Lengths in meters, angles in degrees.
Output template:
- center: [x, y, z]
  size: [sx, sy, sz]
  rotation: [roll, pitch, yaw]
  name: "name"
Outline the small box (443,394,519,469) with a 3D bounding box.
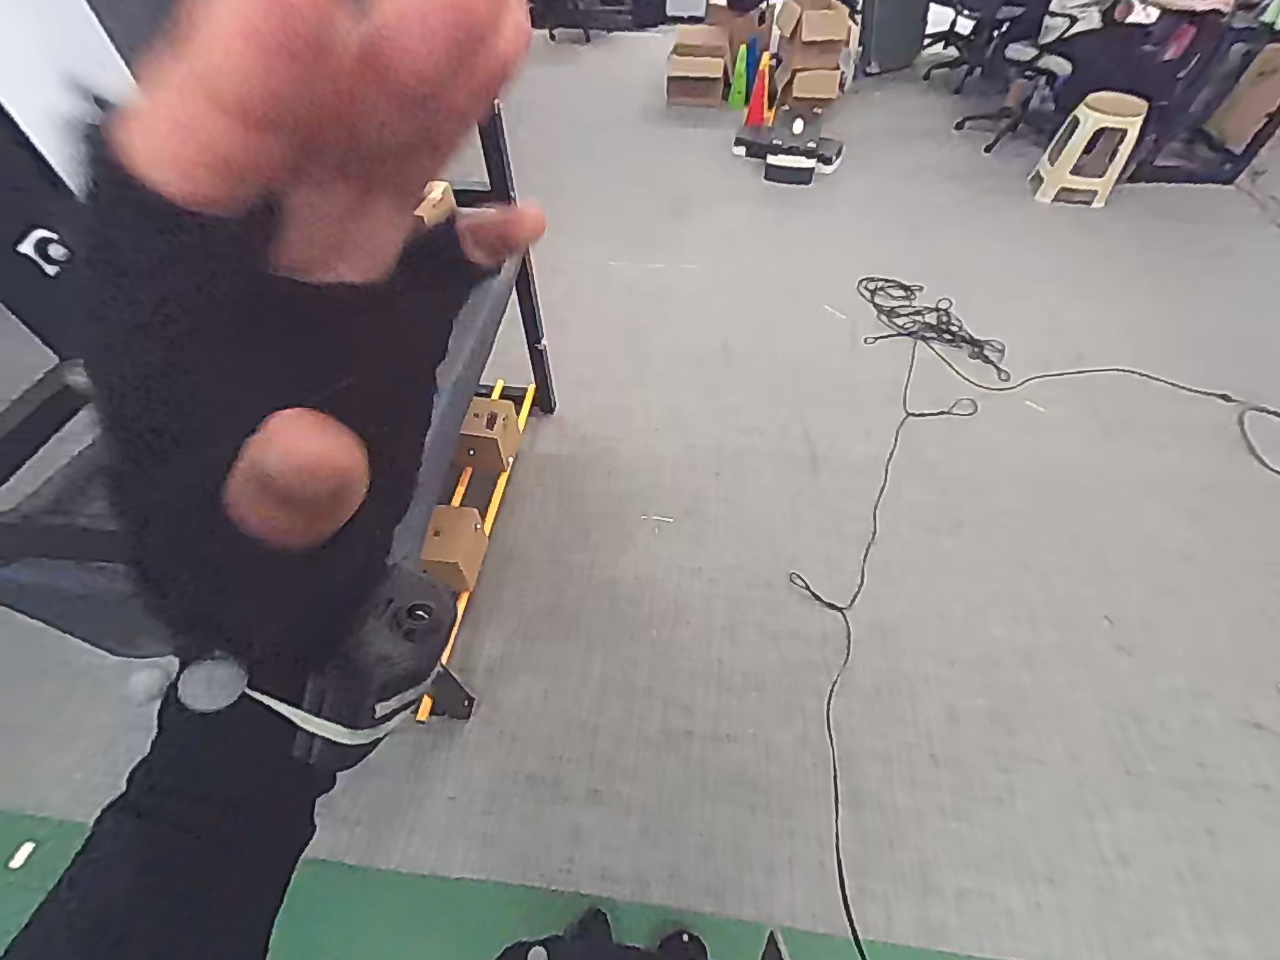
- center: [-0.505, -0.153, 1.752]
  size: [0.179, 0.176, 0.168]
  rotation: [7, 52, 5]
  name: "small box"
